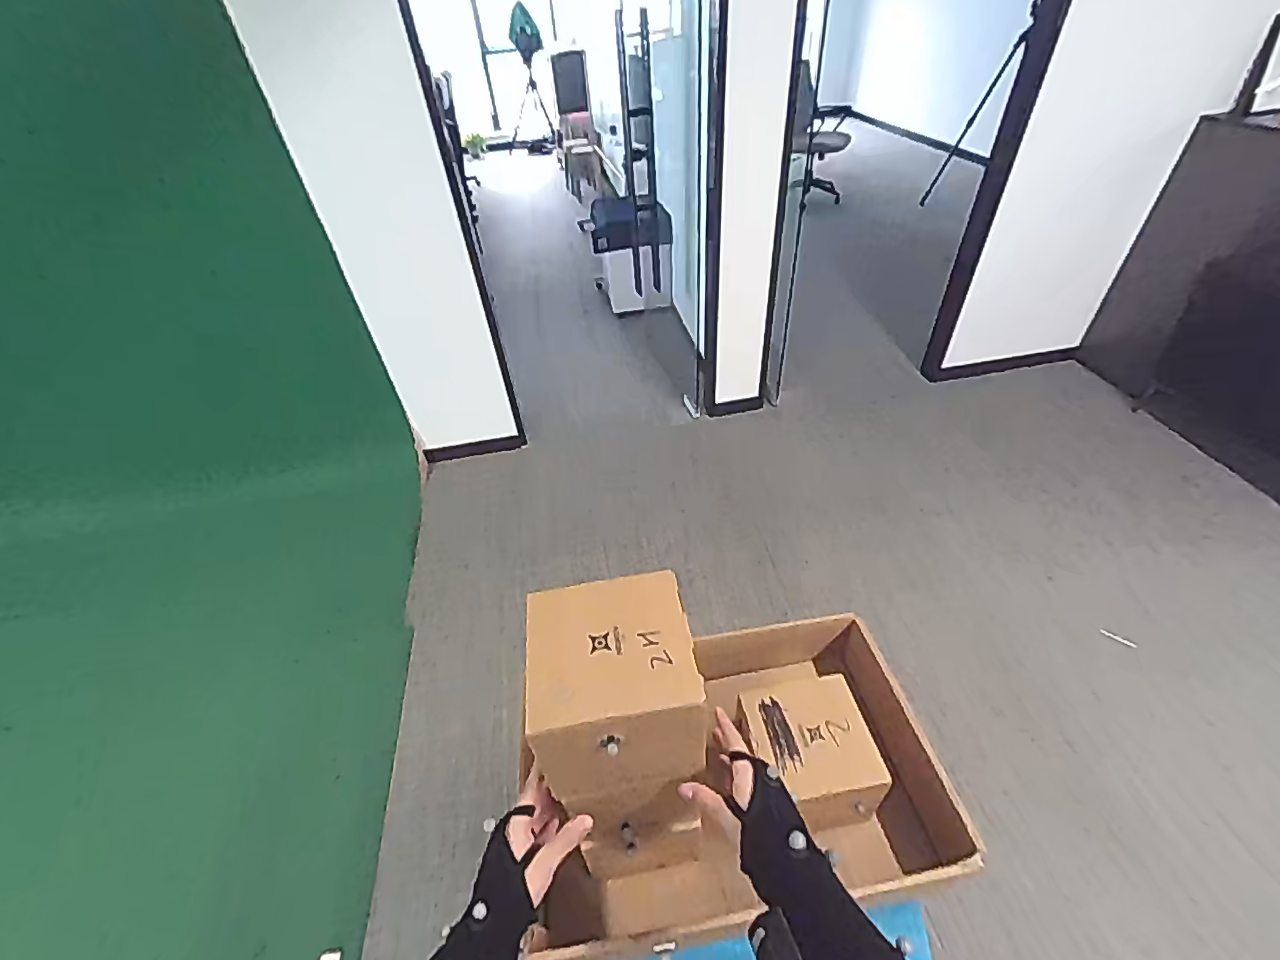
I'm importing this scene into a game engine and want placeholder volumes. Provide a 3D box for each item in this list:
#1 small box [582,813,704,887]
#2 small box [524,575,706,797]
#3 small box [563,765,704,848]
[{"bbox_3d":[-0.002,0.484,0.828,0.168,0.176,0.179,-9,40,-4],"label":"small box"},{"bbox_3d":[-0.026,0.235,0.616,0.179,0.176,0.168,-9,41,-3],"label":"small box"},{"bbox_3d":[-0.015,0.357,0.726,0.168,0.176,0.179,-8,41,-4],"label":"small box"}]
